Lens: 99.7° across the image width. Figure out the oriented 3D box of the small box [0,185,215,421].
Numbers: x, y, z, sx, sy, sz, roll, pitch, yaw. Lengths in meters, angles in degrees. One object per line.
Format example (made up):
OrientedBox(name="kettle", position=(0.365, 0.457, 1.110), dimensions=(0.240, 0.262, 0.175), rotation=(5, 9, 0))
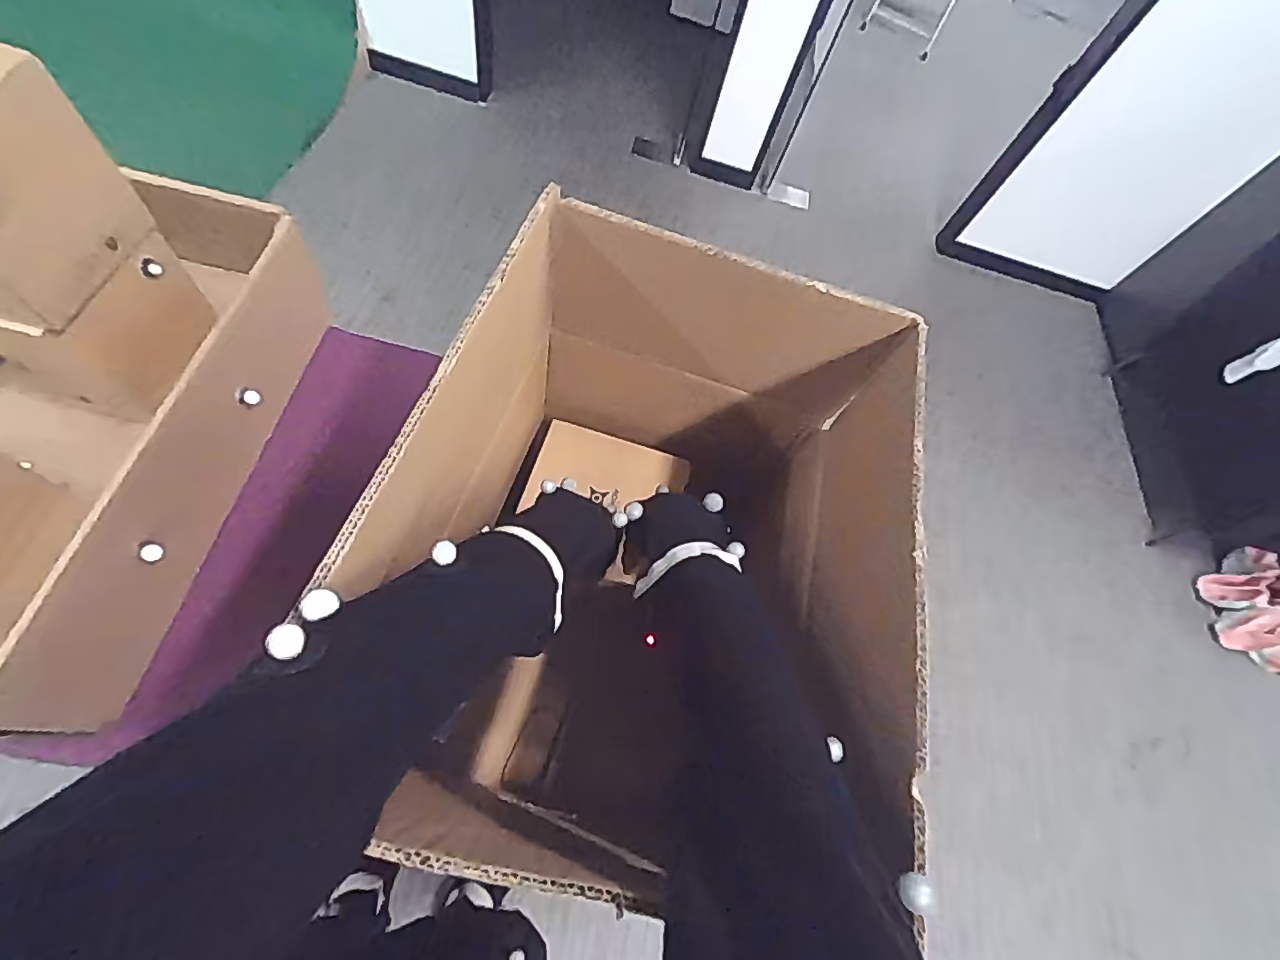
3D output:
OrientedBox(name="small box", position=(-0.652, -0.194, 0.629), dimensions=(0.168, 0.176, 0.179), rotation=(15, 62, -4))
